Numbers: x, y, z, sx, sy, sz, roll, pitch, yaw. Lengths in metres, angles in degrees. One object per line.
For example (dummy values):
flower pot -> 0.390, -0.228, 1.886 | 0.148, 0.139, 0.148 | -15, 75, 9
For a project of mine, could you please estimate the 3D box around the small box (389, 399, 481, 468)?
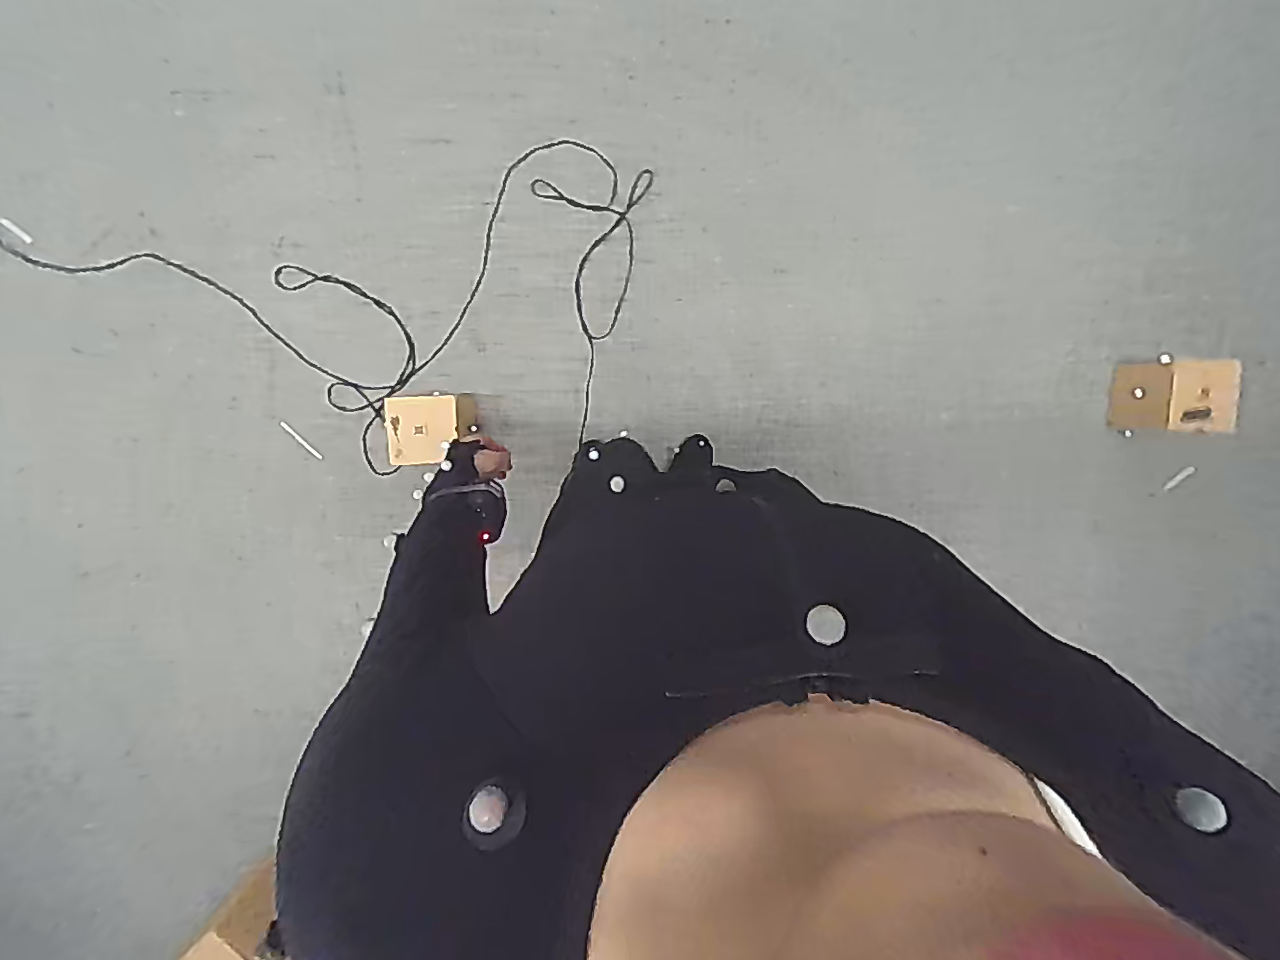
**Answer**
small box -> -0.514, -0.123, 1.382 | 0.179, 0.176, 0.168 | -2, 96, -1

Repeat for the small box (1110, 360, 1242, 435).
small box -> 1.360, -0.208, 1.385 | 0.168, 0.176, 0.179 | 1, 96, 0
